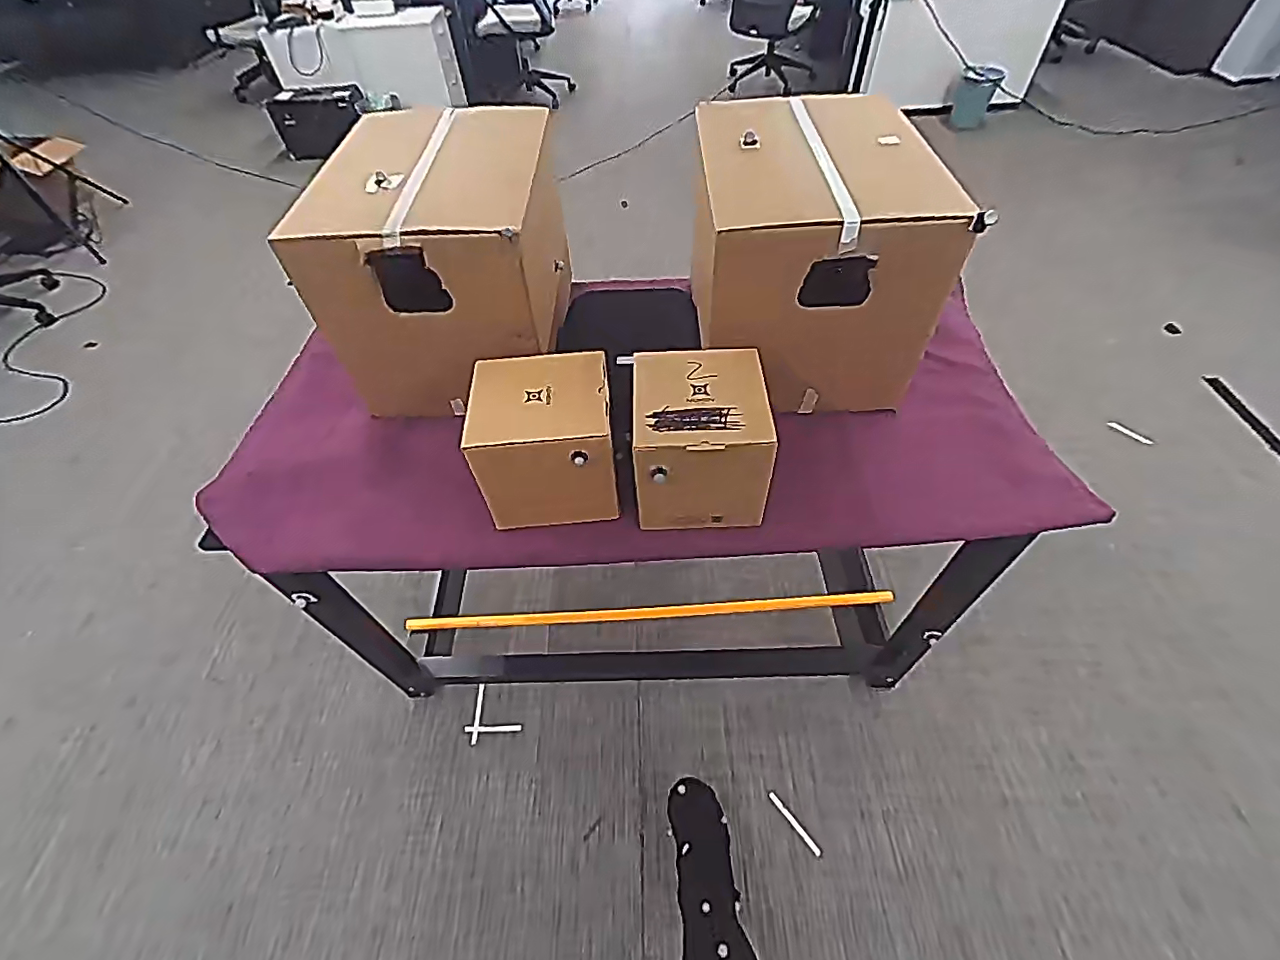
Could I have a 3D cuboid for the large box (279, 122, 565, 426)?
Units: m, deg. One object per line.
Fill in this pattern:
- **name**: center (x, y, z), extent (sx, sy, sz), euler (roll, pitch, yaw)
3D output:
- **large box**: center (-0.303, -0.344, 0.905), extent (0.320, 0.320, 0.408), euler (-3, 54, 1)
